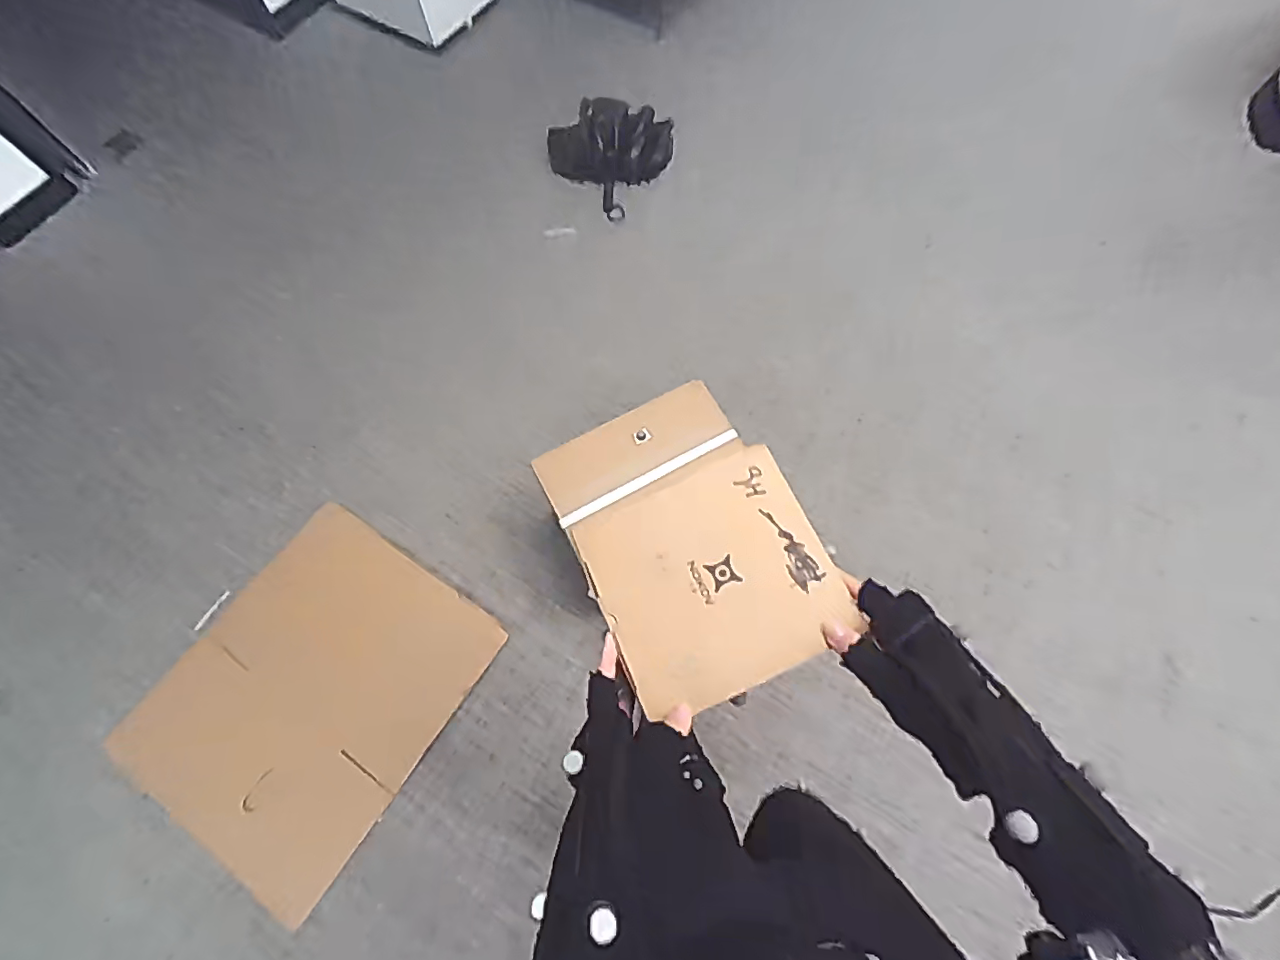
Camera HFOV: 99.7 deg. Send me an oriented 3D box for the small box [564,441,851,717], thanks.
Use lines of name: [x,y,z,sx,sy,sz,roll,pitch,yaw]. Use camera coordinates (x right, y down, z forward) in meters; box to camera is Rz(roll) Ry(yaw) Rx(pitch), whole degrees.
small box: [0.056,0.099,0.495,0.179,0.176,0.168,-26,68,-5]
